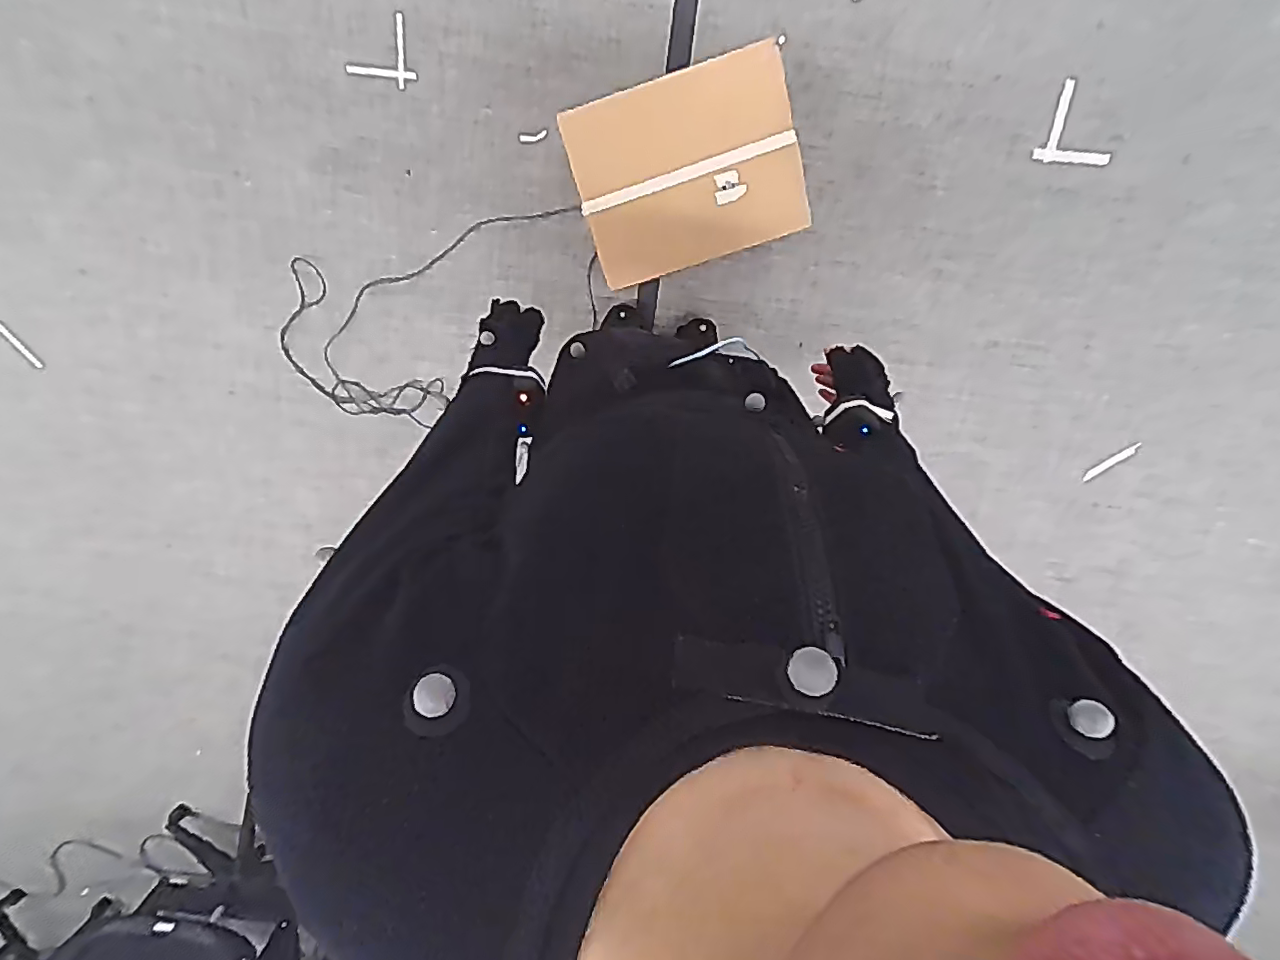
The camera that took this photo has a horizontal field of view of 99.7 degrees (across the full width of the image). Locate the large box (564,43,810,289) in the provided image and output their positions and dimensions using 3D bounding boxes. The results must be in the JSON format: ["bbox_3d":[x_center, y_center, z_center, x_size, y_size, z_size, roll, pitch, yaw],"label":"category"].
[{"bbox_3d":[0.091,-0.616,1.141,0.408,0.320,0.320,-16,110,5],"label":"large box"}]
